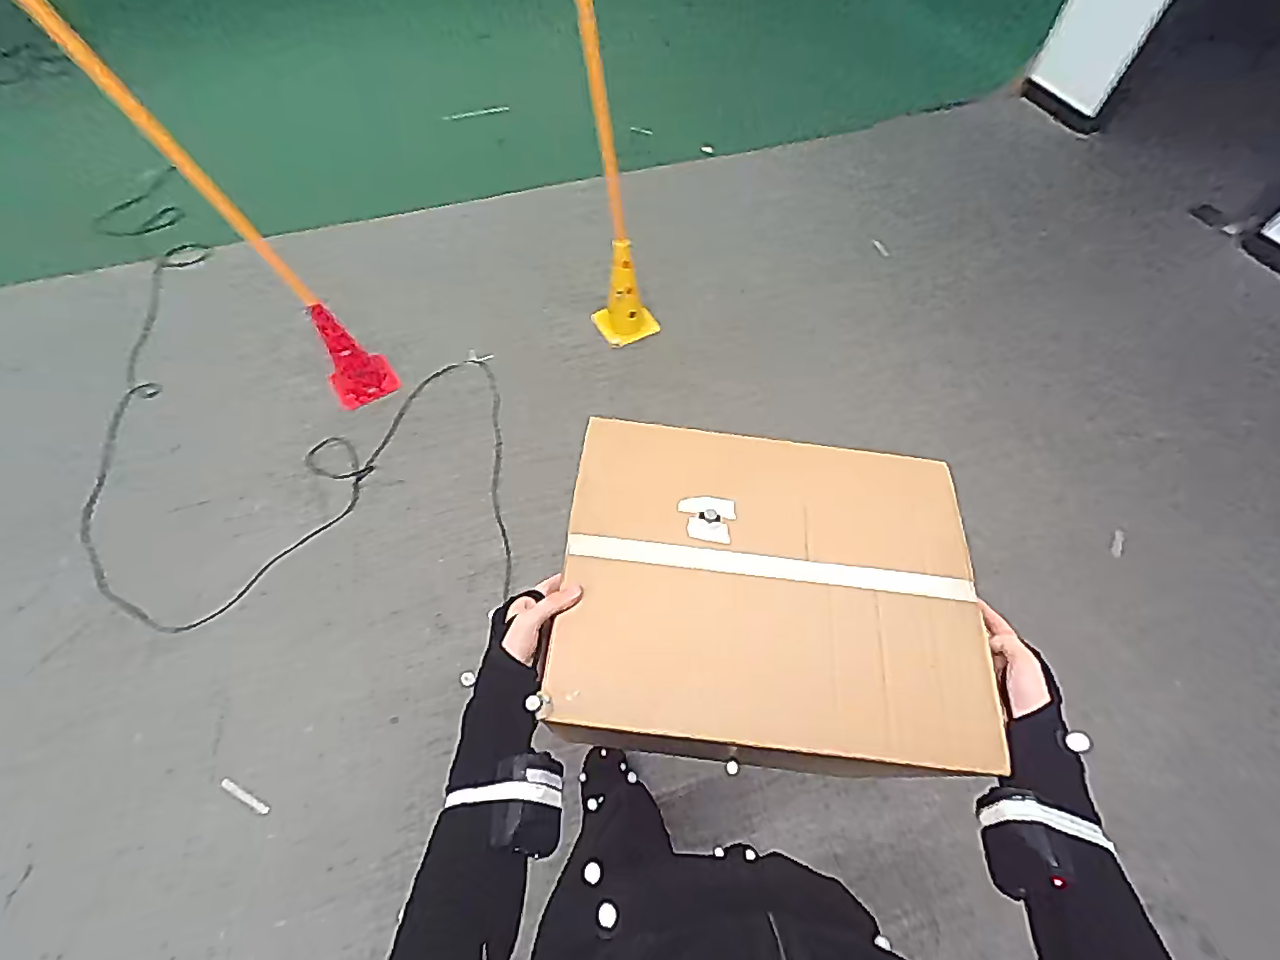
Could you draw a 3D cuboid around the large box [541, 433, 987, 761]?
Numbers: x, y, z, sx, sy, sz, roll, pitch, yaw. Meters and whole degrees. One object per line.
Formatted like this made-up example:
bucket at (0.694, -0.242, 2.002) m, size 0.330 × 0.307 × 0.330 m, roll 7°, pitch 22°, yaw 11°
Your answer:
large box at (0.116, 0.165, 0.675) m, size 0.408 × 0.320 × 0.320 m, roll 5°, pitch 61°, yaw 0°
